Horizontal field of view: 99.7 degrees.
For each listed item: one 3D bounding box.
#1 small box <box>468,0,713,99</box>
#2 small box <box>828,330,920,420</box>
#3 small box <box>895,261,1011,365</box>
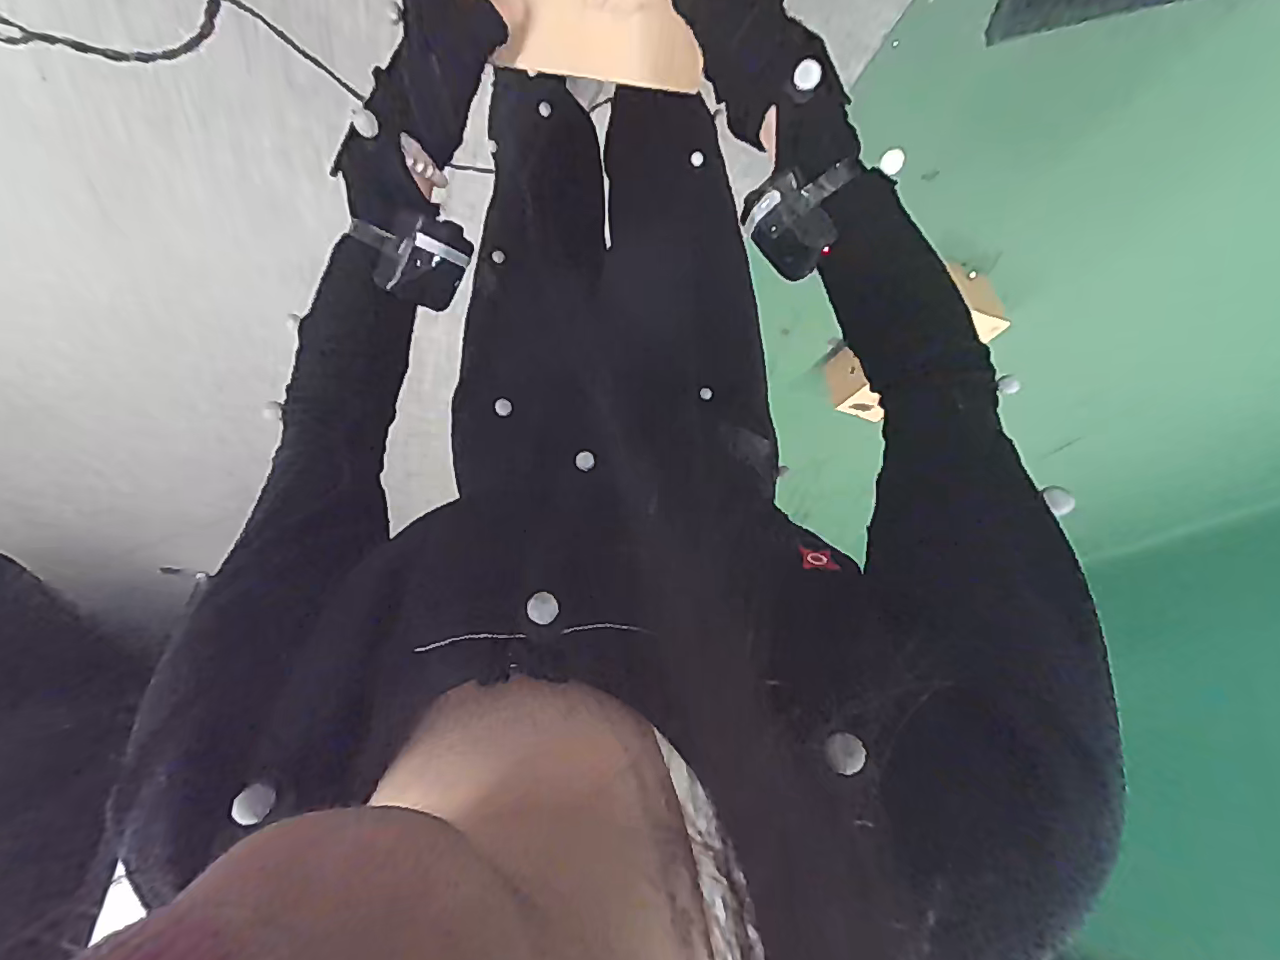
[{"bbox_3d":[-0.036,-0.406,0.386,0.168,0.176,0.179,0,137,-12],"label":"small box"},{"bbox_3d":[0.678,-0.307,1.591,0.168,0.176,0.179,11,149,-23],"label":"small box"},{"bbox_3d":[0.785,-0.426,1.377,0.179,0.176,0.168,11,149,-20],"label":"small box"}]
